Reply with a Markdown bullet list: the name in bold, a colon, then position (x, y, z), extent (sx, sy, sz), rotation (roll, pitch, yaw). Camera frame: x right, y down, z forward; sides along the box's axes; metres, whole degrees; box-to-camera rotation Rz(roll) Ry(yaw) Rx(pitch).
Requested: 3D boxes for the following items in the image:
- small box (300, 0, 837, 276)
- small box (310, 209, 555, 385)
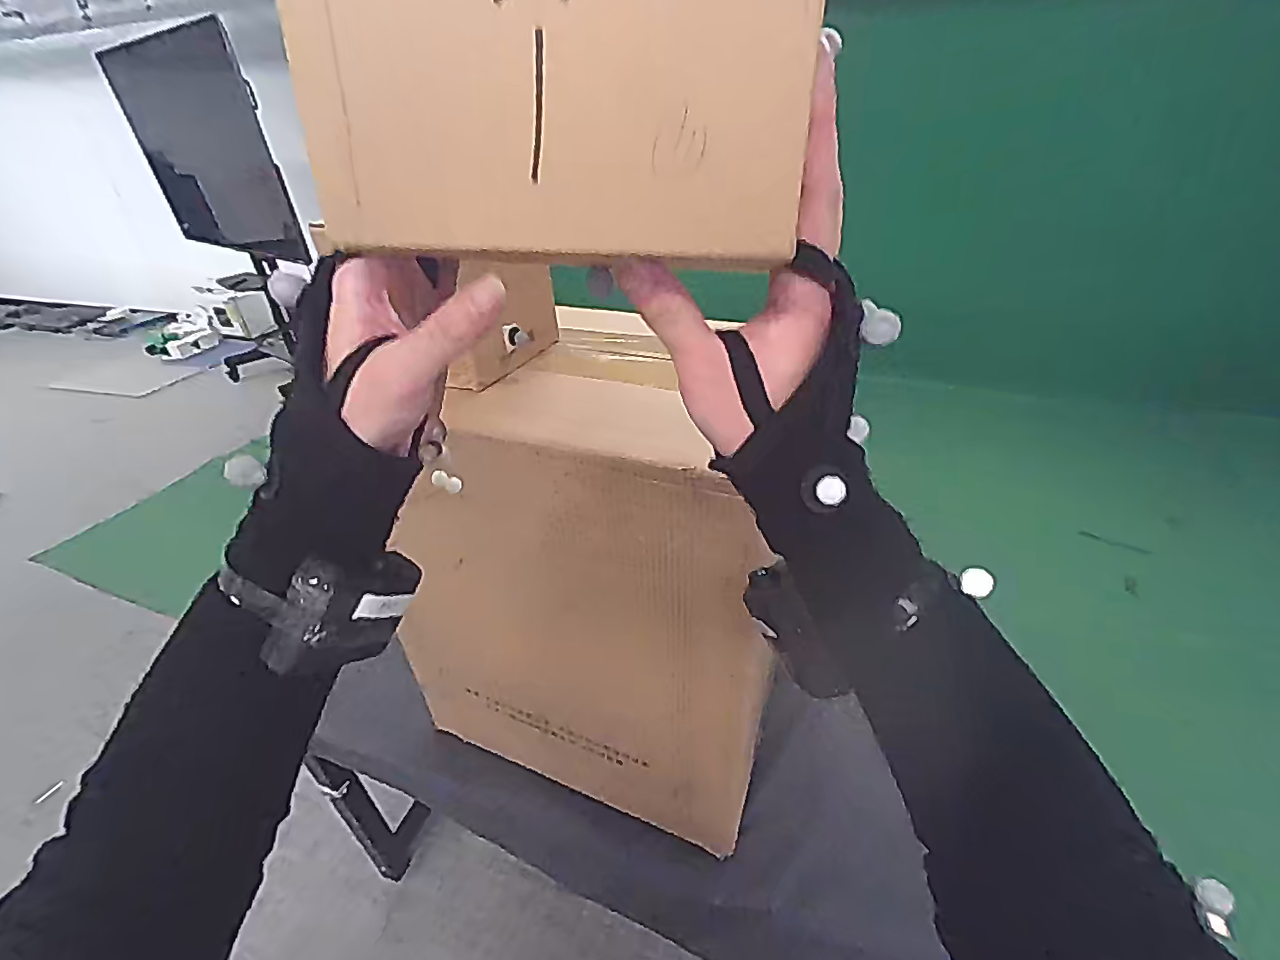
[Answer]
- **small box**: position (-0.014, -0.187, 0.231), extent (0.168, 0.179, 0.176), rotation (6, 20, 6)
- **small box**: position (-0.217, -0.222, 0.611), extent (0.179, 0.176, 0.168), rotation (13, 40, 20)
